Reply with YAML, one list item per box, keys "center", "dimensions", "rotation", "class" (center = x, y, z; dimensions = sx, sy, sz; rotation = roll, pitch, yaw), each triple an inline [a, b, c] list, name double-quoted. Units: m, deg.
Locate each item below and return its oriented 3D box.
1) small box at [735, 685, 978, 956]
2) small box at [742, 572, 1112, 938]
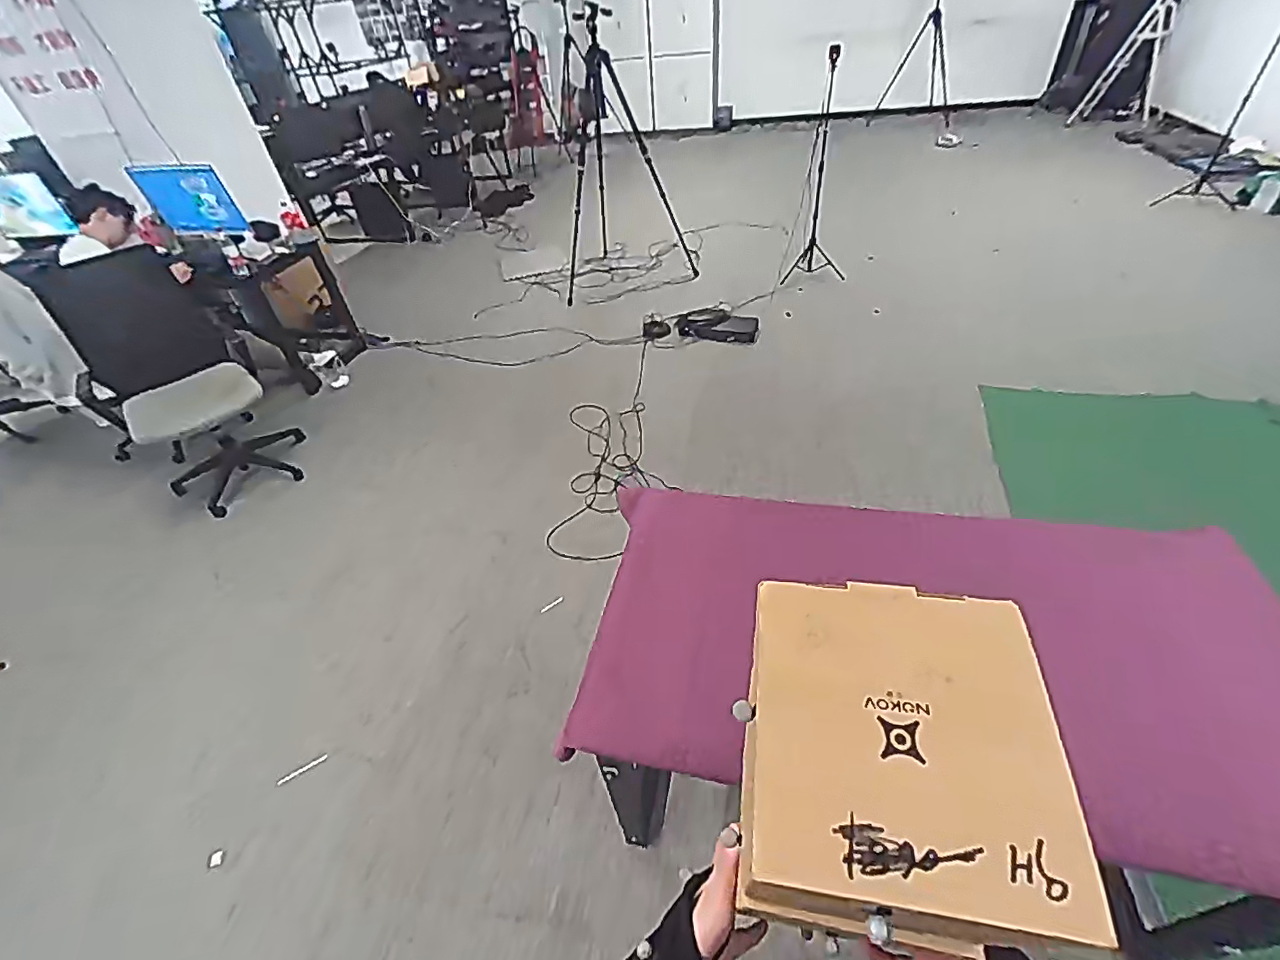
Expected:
- center: [0.177, 0.297, 0.492]
  dimensions: [0.168, 0.176, 0.179]
  rotation: [4, 51, 12]
  class: "small box"
- center: [0.159, 0.186, 0.372]
  dimensions: [0.168, 0.176, 0.179]
  rotation: [2, 51, 12]
  class: "small box"
